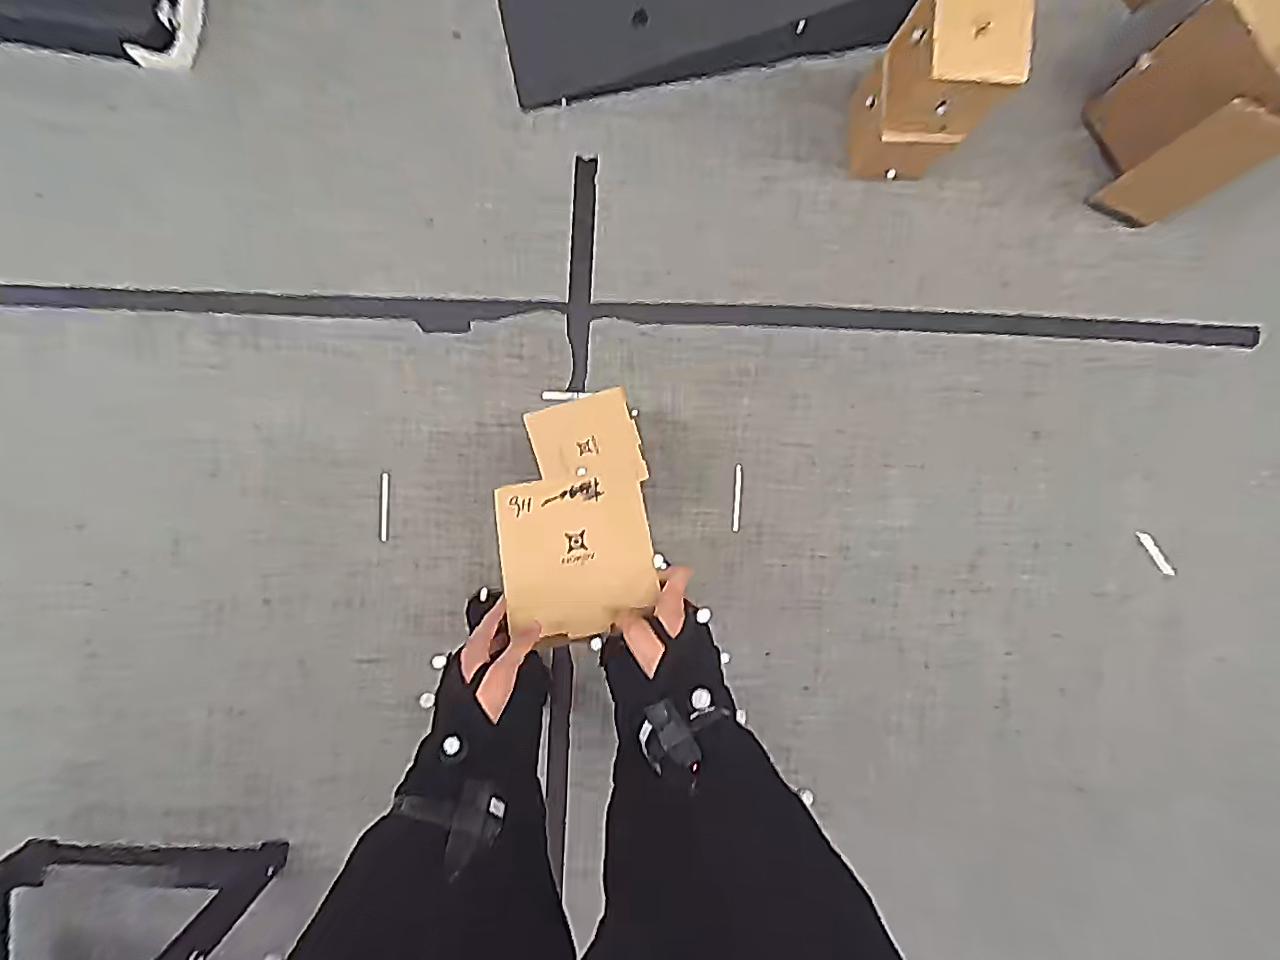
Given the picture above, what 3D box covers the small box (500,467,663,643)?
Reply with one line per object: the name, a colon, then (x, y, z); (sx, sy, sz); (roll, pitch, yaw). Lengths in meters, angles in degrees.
small box: (-0.067, 0.102, 0.676); (0.168, 0.176, 0.179); (-10, 72, -3)
